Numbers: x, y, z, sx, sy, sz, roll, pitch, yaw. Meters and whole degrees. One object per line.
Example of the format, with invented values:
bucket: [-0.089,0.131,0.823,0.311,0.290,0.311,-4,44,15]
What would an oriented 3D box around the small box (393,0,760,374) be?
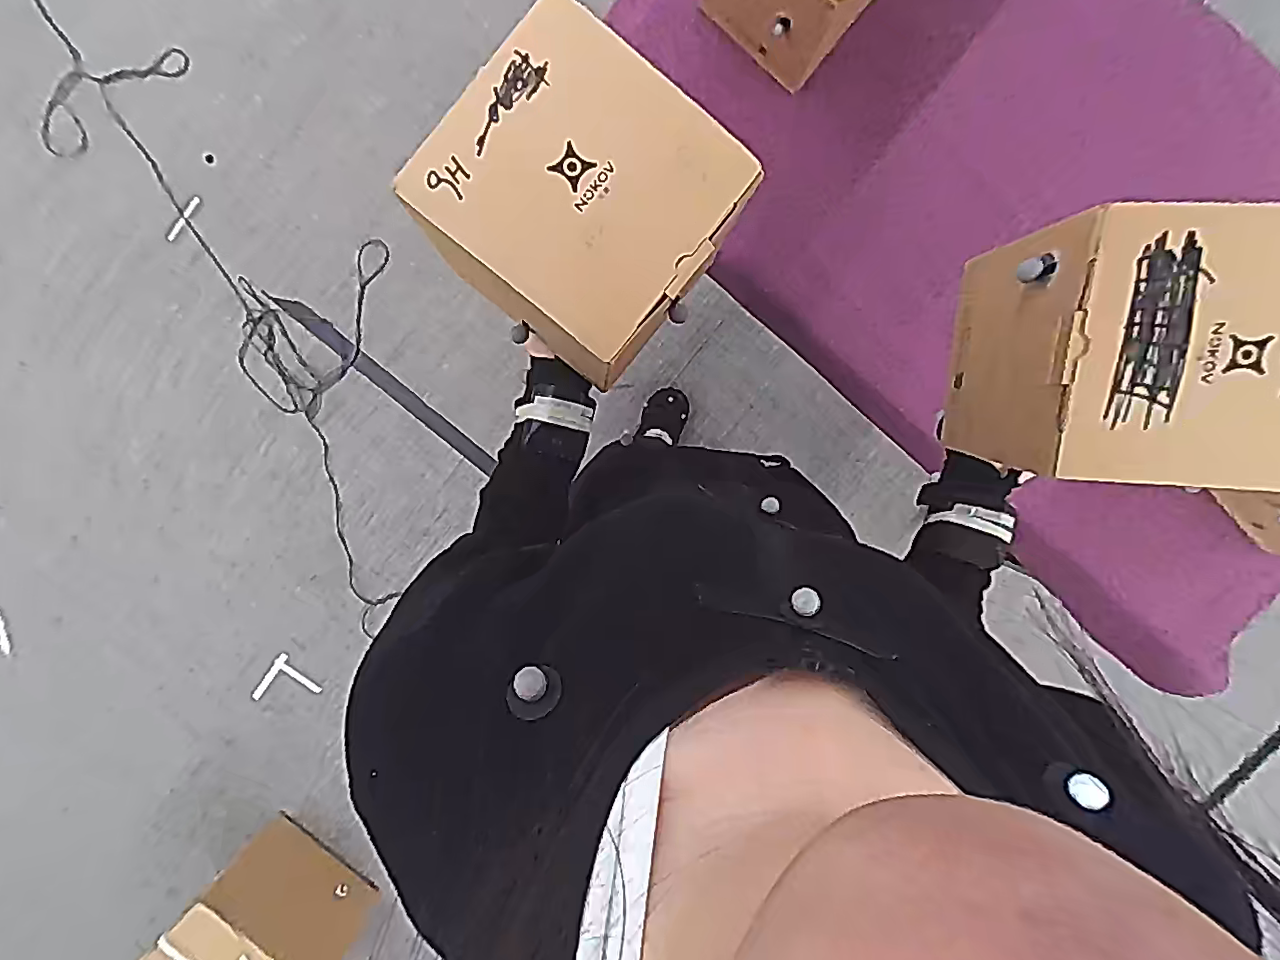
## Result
small box: [-0.044,-0.198,0.421,0.179,0.176,0.168,38,89,-7]

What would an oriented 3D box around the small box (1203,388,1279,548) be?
small box: [0.883,-0.010,0.678,0.168,0.176,0.179,44,95,-5]
